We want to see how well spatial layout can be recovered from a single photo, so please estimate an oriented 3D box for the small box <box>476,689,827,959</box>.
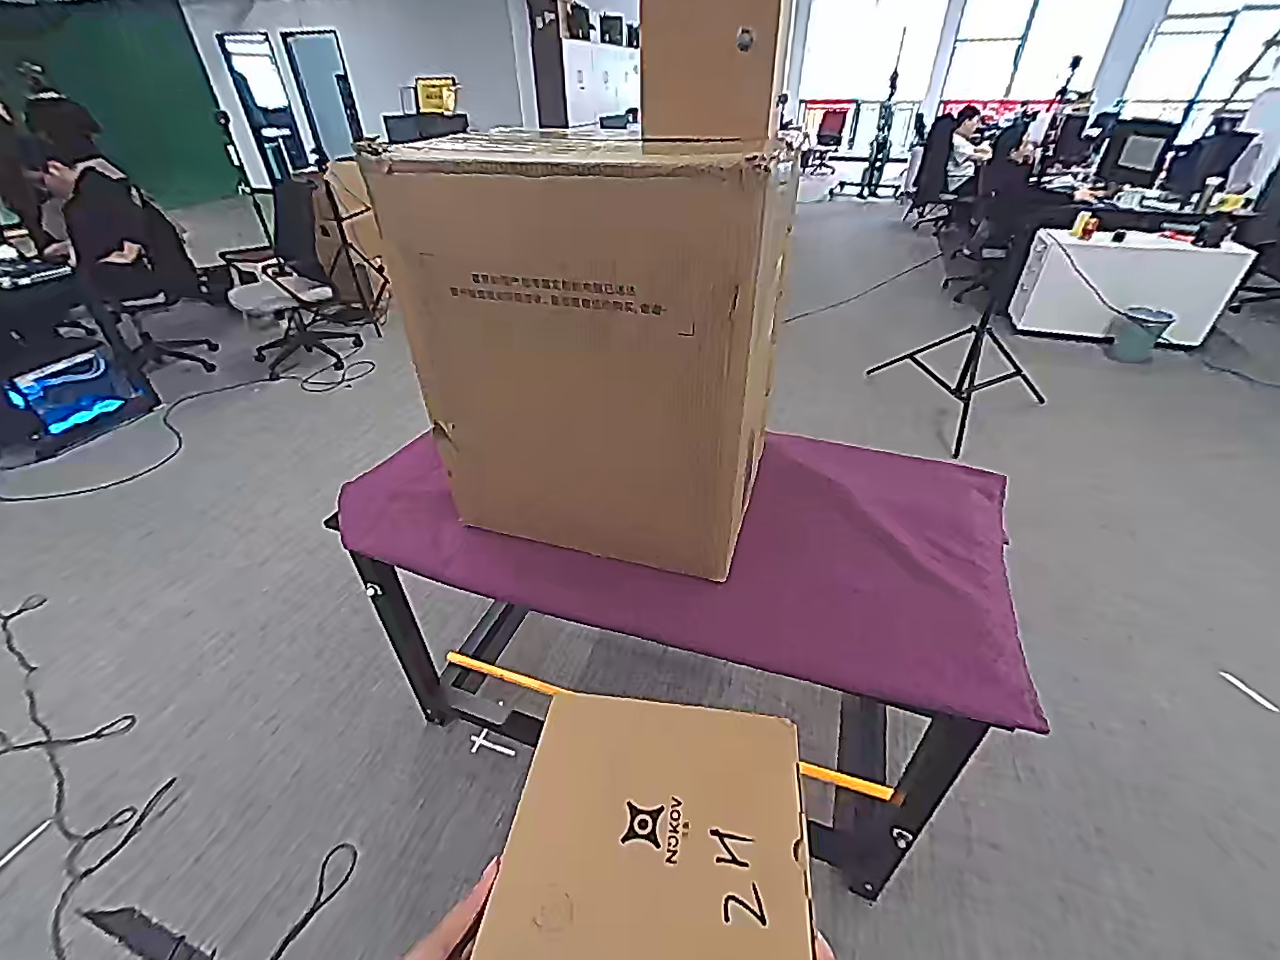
[{"bbox_3d":[0.017,0.270,0.364,0.179,0.176,0.168,4,35,8],"label":"small box"}]
